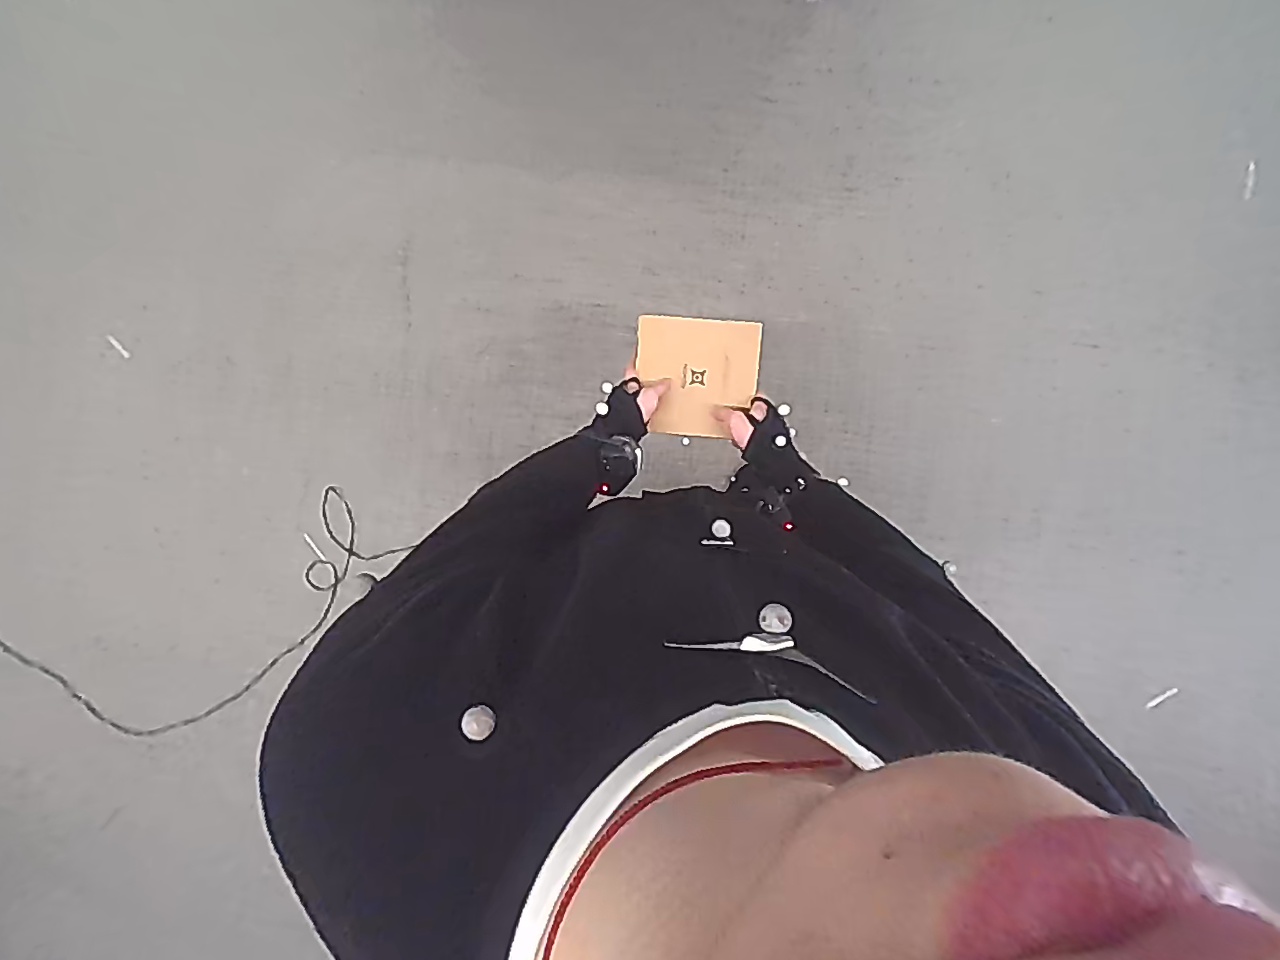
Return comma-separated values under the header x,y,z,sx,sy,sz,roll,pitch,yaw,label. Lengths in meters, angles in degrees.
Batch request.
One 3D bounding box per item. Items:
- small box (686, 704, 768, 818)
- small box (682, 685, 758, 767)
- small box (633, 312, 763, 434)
x,y,z,sx,sy,sz,roll,pitch,yaw,label
0.205,0.677,1.318,0.168,0.176,0.179,8,91,2,small box
0.213,0.681,1.483,0.179,0.176,0.168,9,92,3,small box
0.084,-0.159,0.846,0.179,0.176,0.168,3,96,1,small box
